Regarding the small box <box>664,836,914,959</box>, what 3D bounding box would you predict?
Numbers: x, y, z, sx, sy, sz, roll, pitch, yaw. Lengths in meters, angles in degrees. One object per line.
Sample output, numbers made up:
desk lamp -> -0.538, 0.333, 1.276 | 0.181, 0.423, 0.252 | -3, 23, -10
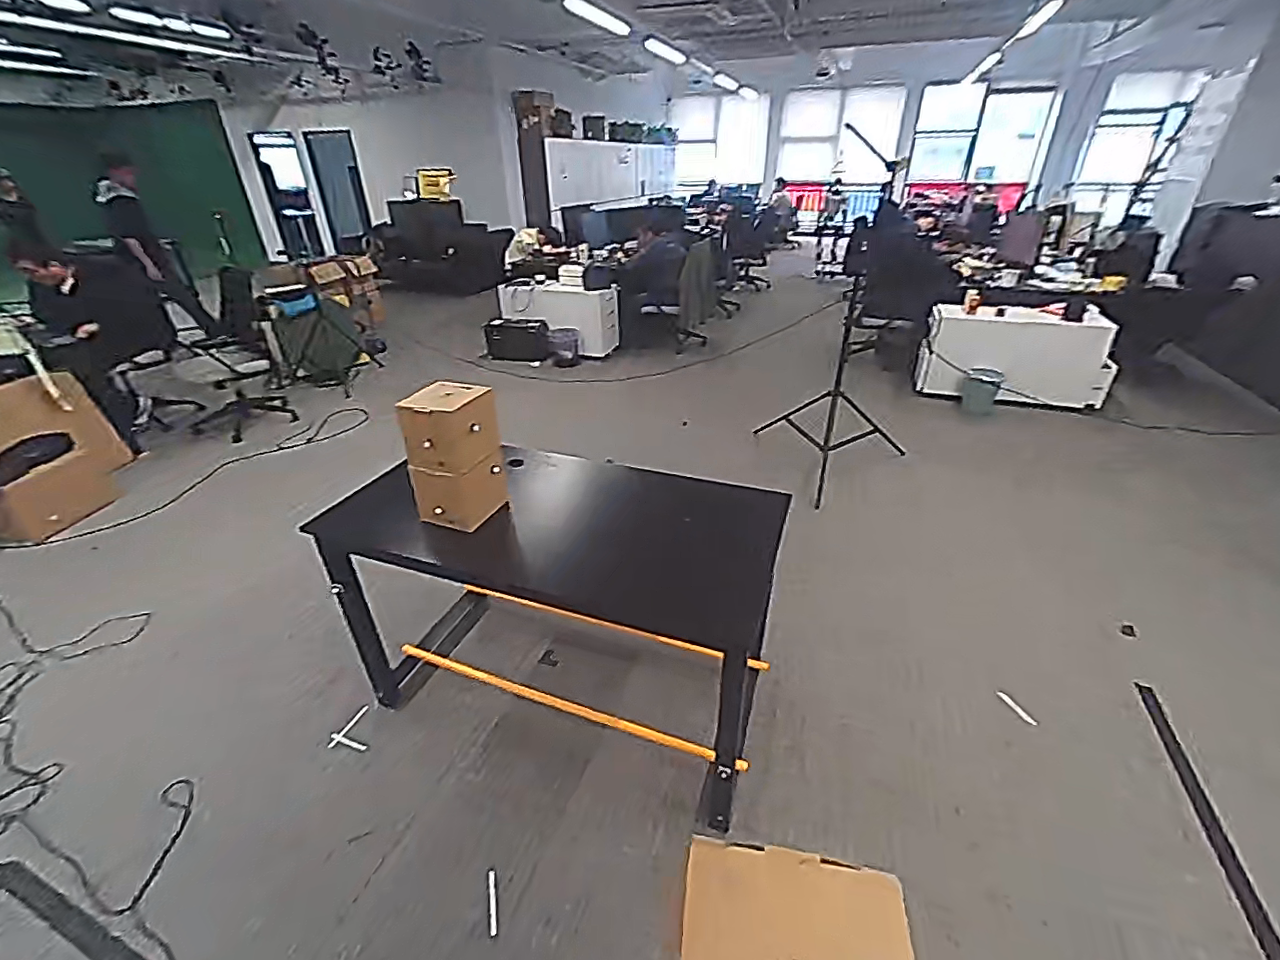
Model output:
small box -> 0.104, 0.412, 0.416 | 0.168, 0.176, 0.179 | 7, 42, 4

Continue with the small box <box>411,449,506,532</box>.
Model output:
small box -> -0.479, 0.014, 1.458 | 0.168, 0.176, 0.179 | 11, 32, 20

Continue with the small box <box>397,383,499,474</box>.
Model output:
small box -> -0.480, -0.133, 1.383 | 0.168, 0.176, 0.179 | 10, 32, 17
